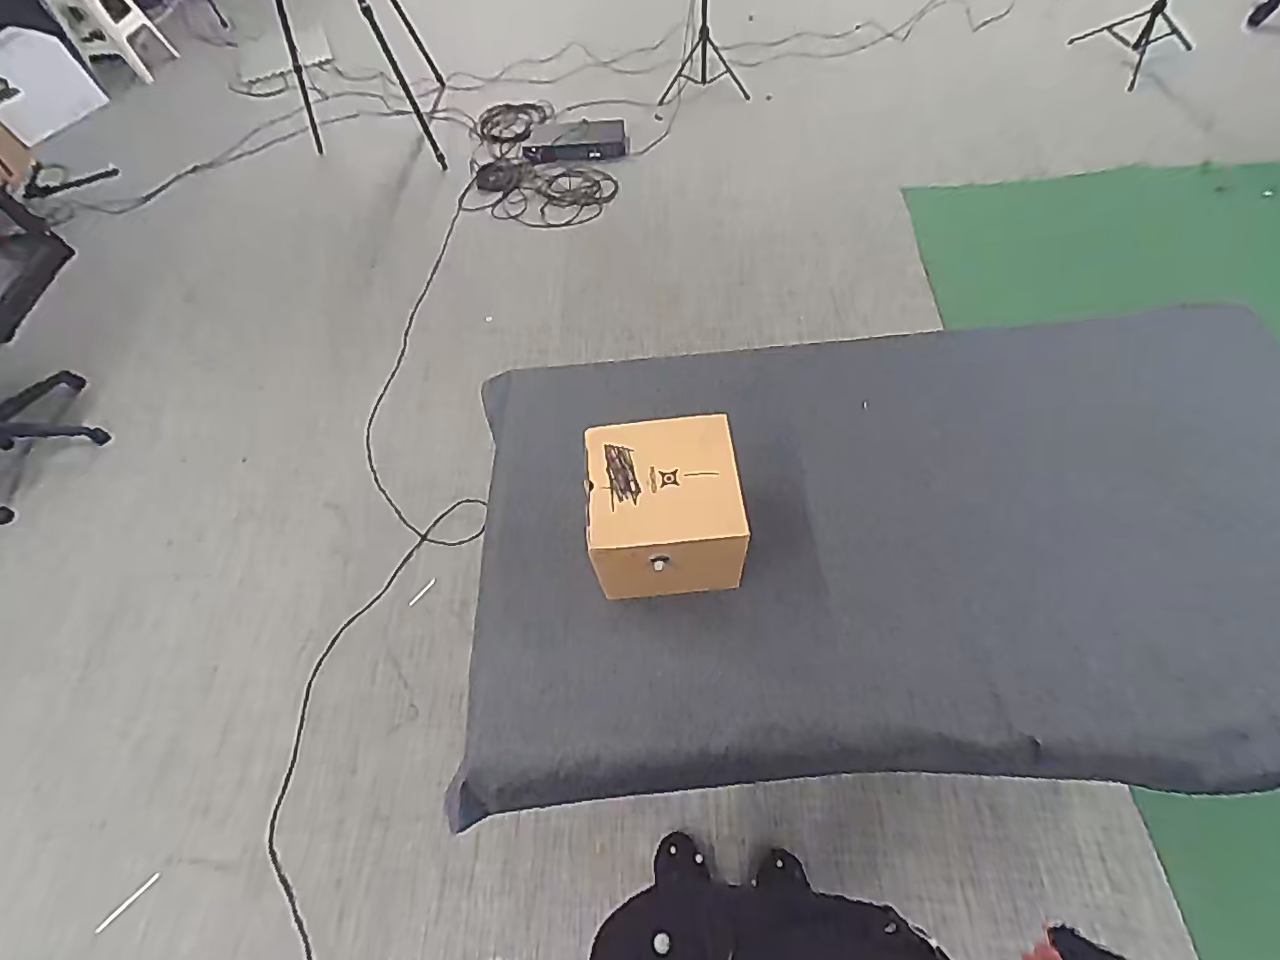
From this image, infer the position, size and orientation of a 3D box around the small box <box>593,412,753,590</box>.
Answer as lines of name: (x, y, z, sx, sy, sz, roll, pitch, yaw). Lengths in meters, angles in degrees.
small box: (0.040, 0.034, 0.695, 0.179, 0.176, 0.168, -5, 60, 2)
